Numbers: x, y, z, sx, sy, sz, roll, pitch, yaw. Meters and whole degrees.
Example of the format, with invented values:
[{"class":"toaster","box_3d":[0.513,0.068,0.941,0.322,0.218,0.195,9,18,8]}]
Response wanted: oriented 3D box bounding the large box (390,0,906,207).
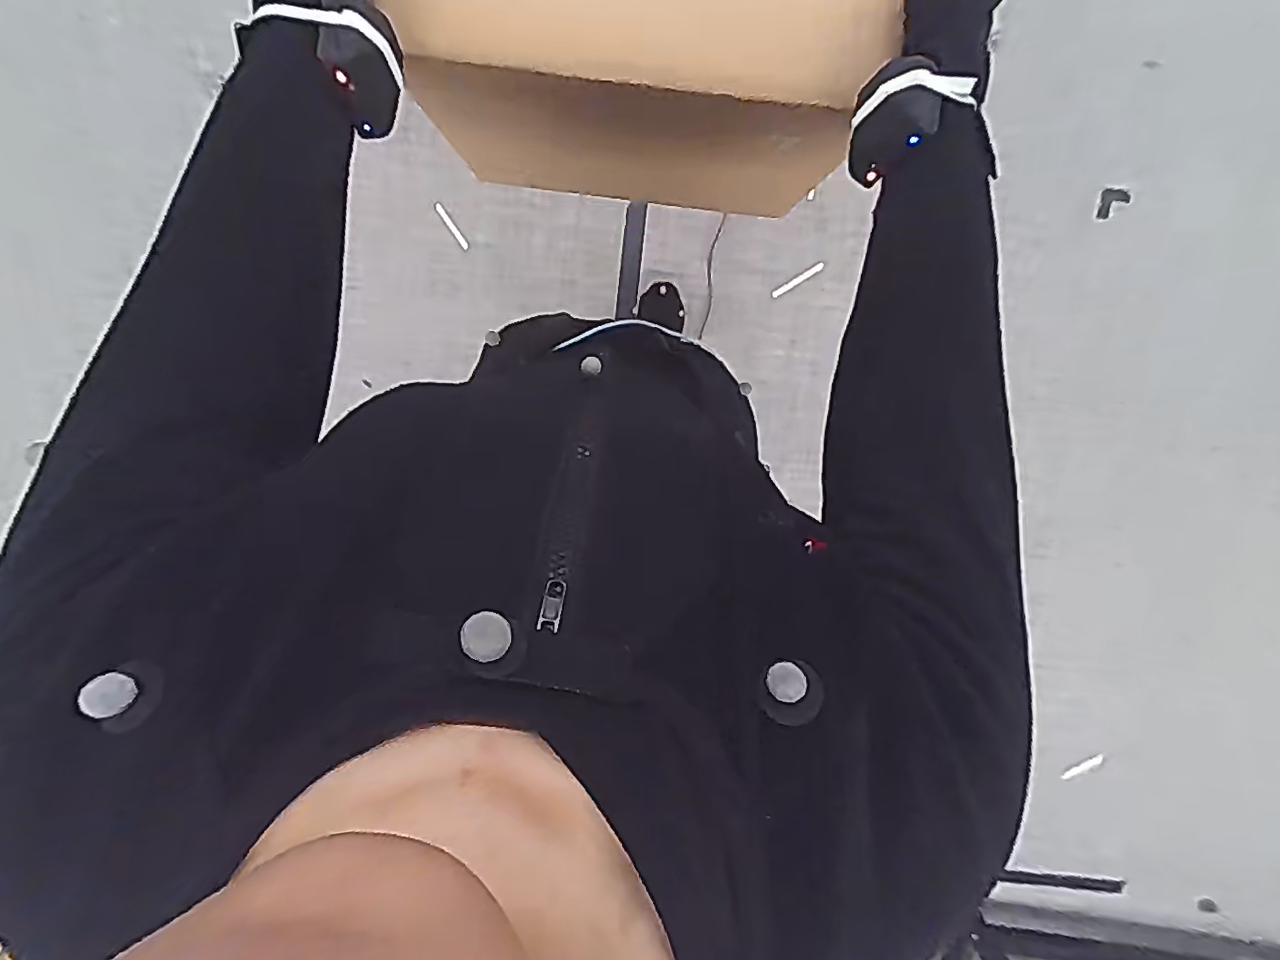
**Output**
[{"class":"large box","box_3d":[0.011,-0.495,0.540,0.408,0.320,0.320,5,102,-3]}]
